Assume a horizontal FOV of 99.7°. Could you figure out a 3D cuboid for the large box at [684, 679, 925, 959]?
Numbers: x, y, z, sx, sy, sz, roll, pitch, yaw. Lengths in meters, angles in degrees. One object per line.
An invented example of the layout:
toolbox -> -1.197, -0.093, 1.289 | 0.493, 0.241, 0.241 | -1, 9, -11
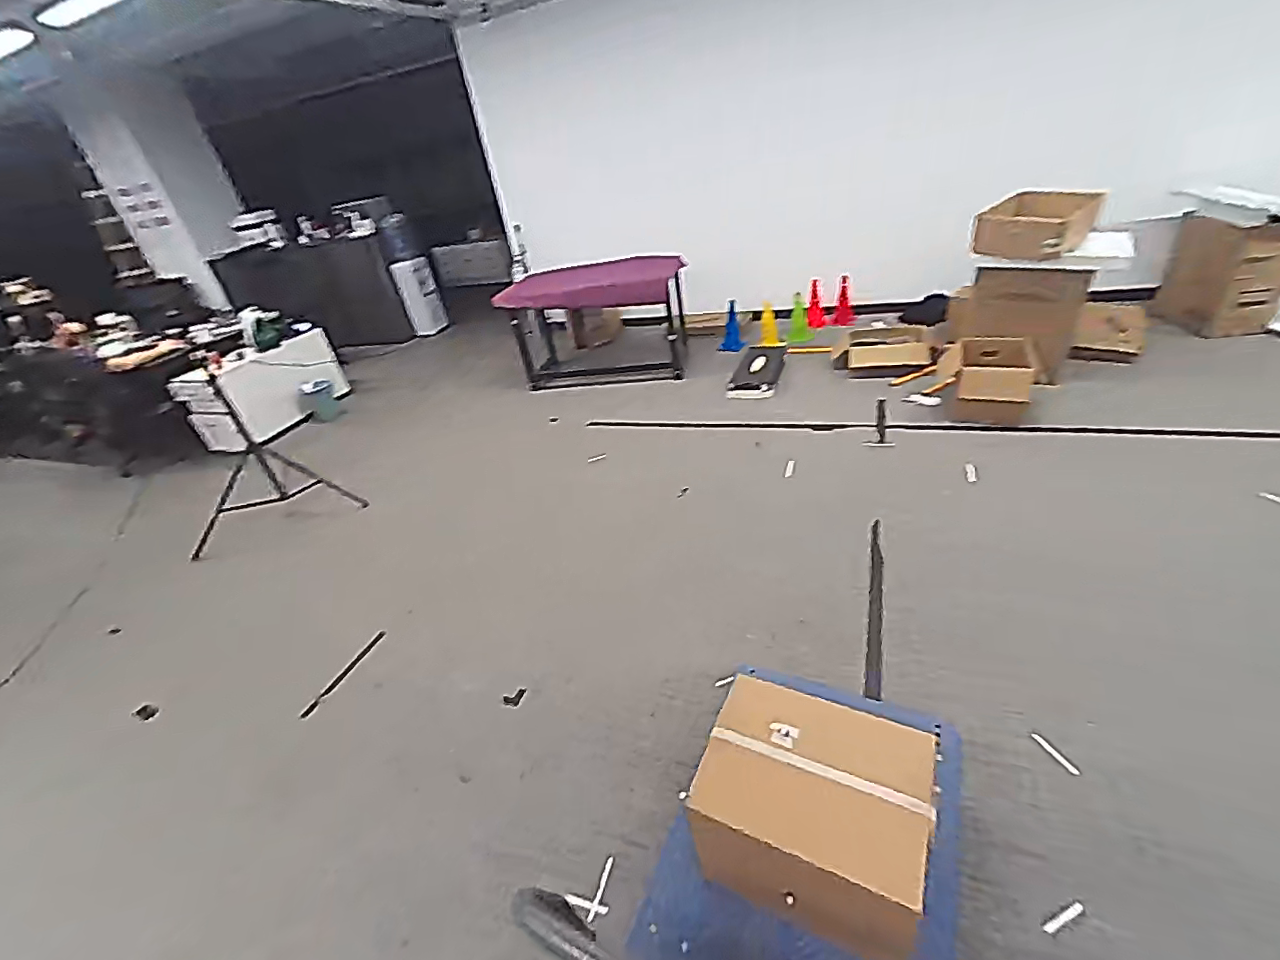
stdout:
large box -> 0.351, 0.682, 1.123 | 0.408, 0.320, 0.320 | 7, 36, 28
